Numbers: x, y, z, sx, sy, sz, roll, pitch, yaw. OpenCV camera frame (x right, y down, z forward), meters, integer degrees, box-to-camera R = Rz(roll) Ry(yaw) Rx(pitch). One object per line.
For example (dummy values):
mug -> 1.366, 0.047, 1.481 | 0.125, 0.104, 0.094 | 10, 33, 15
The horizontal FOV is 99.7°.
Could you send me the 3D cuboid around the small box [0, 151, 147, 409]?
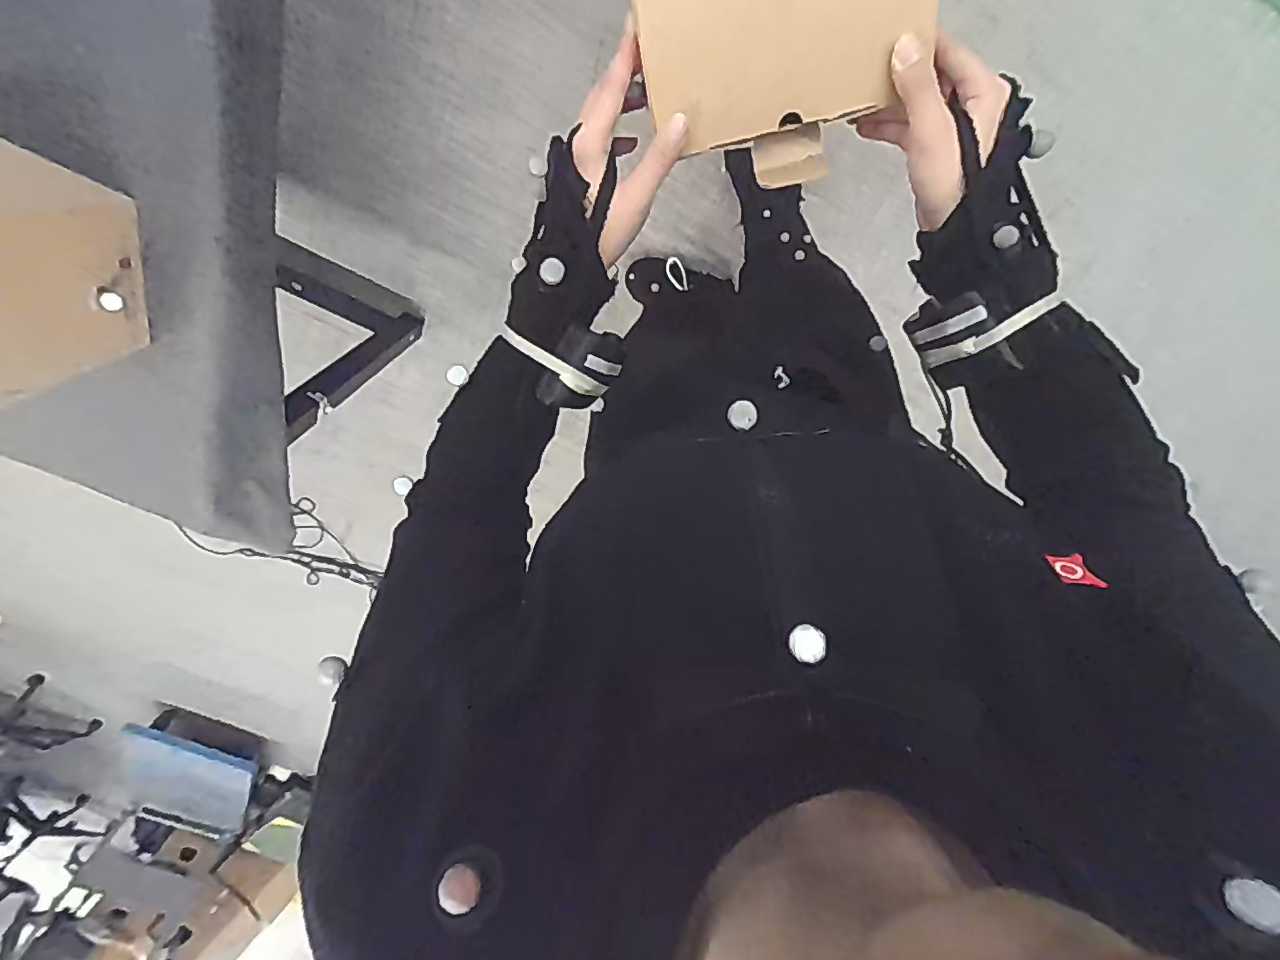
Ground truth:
small box -> -0.603, -0.189, 0.482 | 0.179, 0.176, 0.168 | 23, 124, -9
